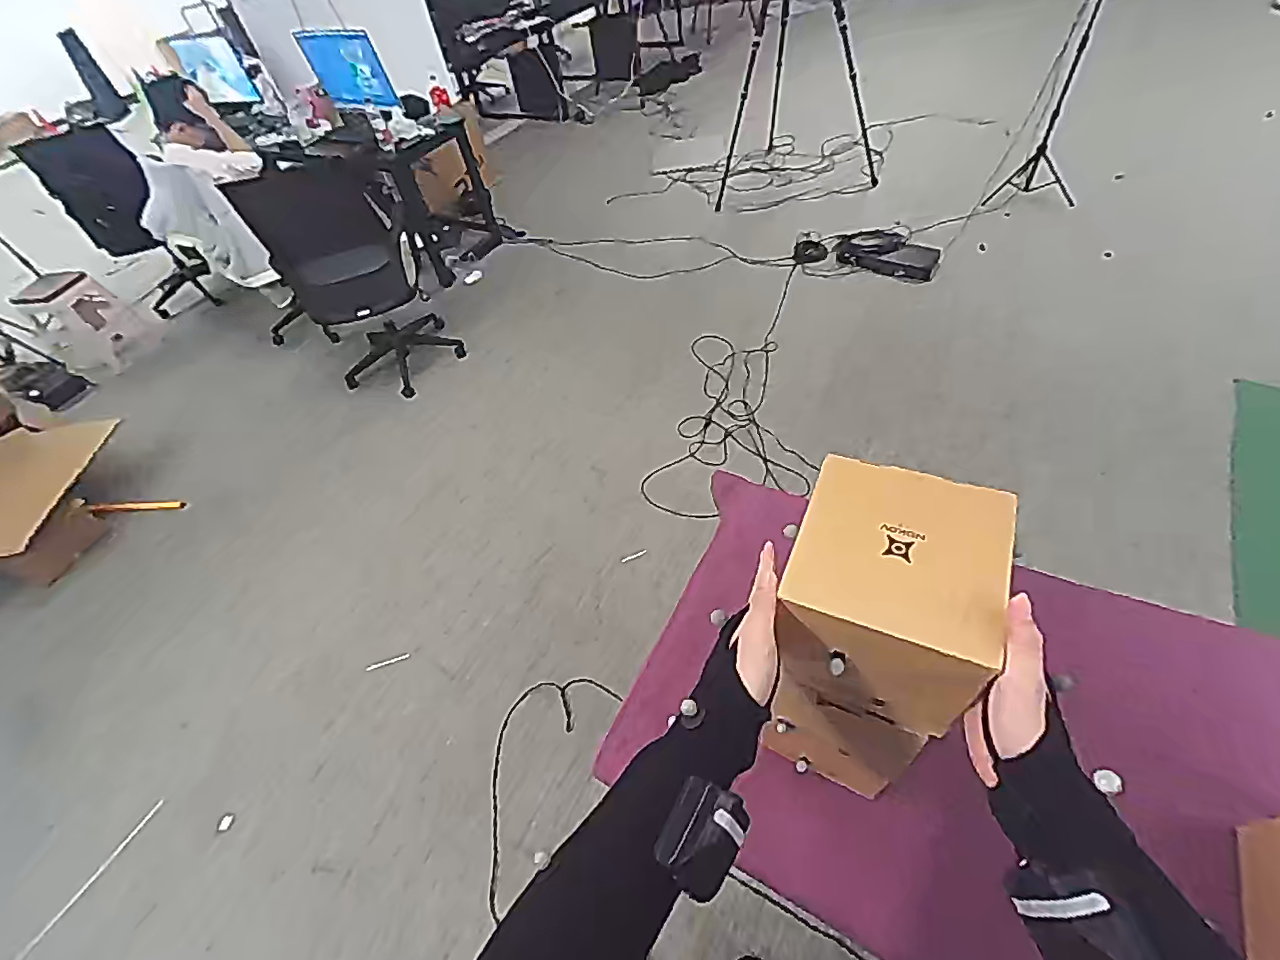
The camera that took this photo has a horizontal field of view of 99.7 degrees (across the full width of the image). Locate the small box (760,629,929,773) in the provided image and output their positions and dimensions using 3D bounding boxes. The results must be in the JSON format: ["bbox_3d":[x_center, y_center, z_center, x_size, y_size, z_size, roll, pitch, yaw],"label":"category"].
[{"bbox_3d":[0.249,0.208,0.634,0.168,0.176,0.179,18,54,24],"label":"small box"}]

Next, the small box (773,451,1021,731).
[{"bbox_3d":[0.231,0.105,0.511,0.168,0.176,0.179,15,53,23],"label":"small box"}]

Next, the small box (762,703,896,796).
[{"bbox_3d":[0.276,0.307,0.761,0.168,0.176,0.179,18,56,24],"label":"small box"}]
